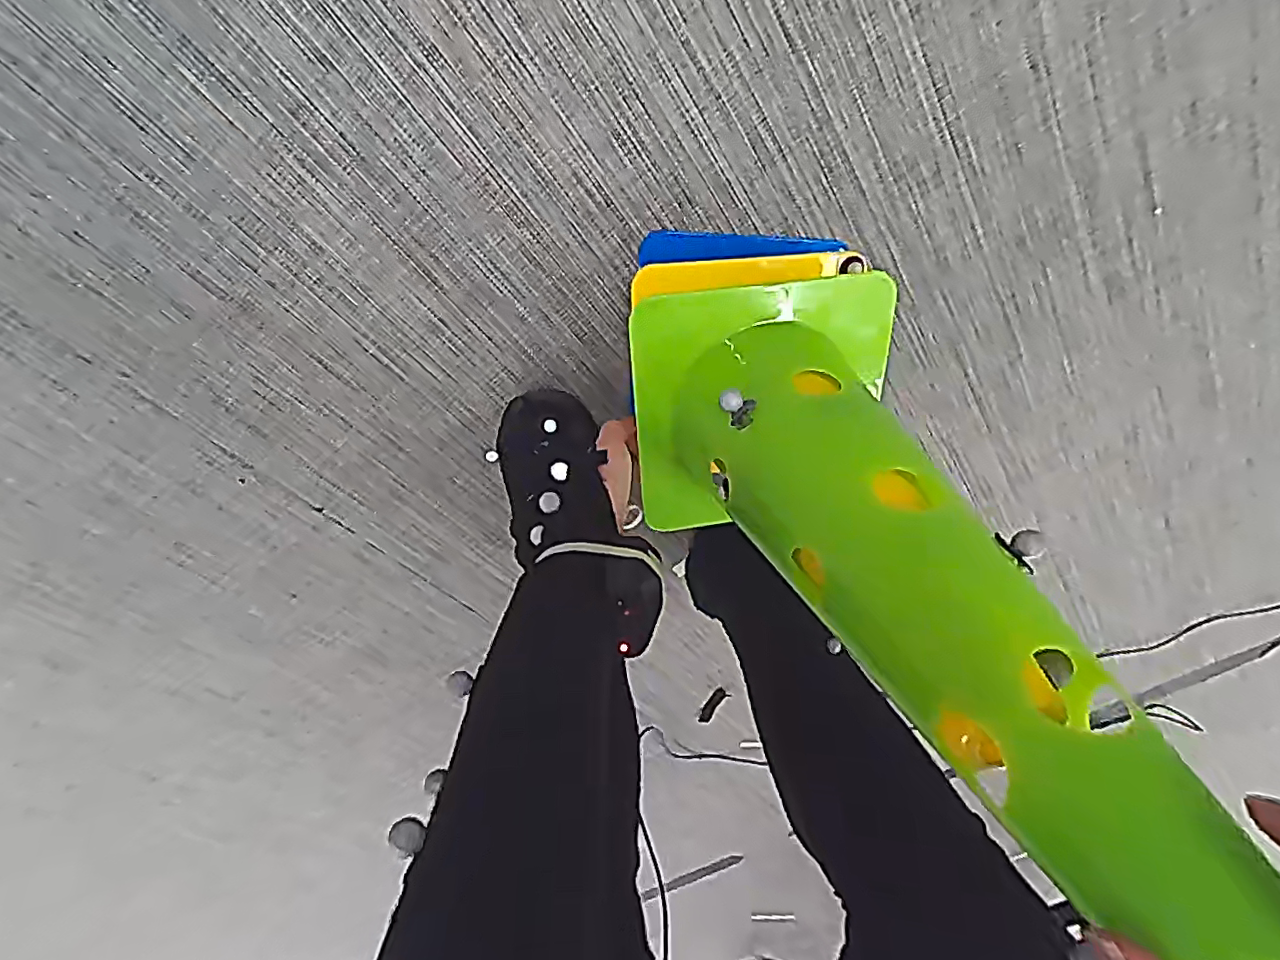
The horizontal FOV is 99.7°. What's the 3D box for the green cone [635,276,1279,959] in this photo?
[{"bbox_3d":[0.124,0.036,0.274,0.202,0.368,0.200,-8,120,-4],"label":"green cone"}]
